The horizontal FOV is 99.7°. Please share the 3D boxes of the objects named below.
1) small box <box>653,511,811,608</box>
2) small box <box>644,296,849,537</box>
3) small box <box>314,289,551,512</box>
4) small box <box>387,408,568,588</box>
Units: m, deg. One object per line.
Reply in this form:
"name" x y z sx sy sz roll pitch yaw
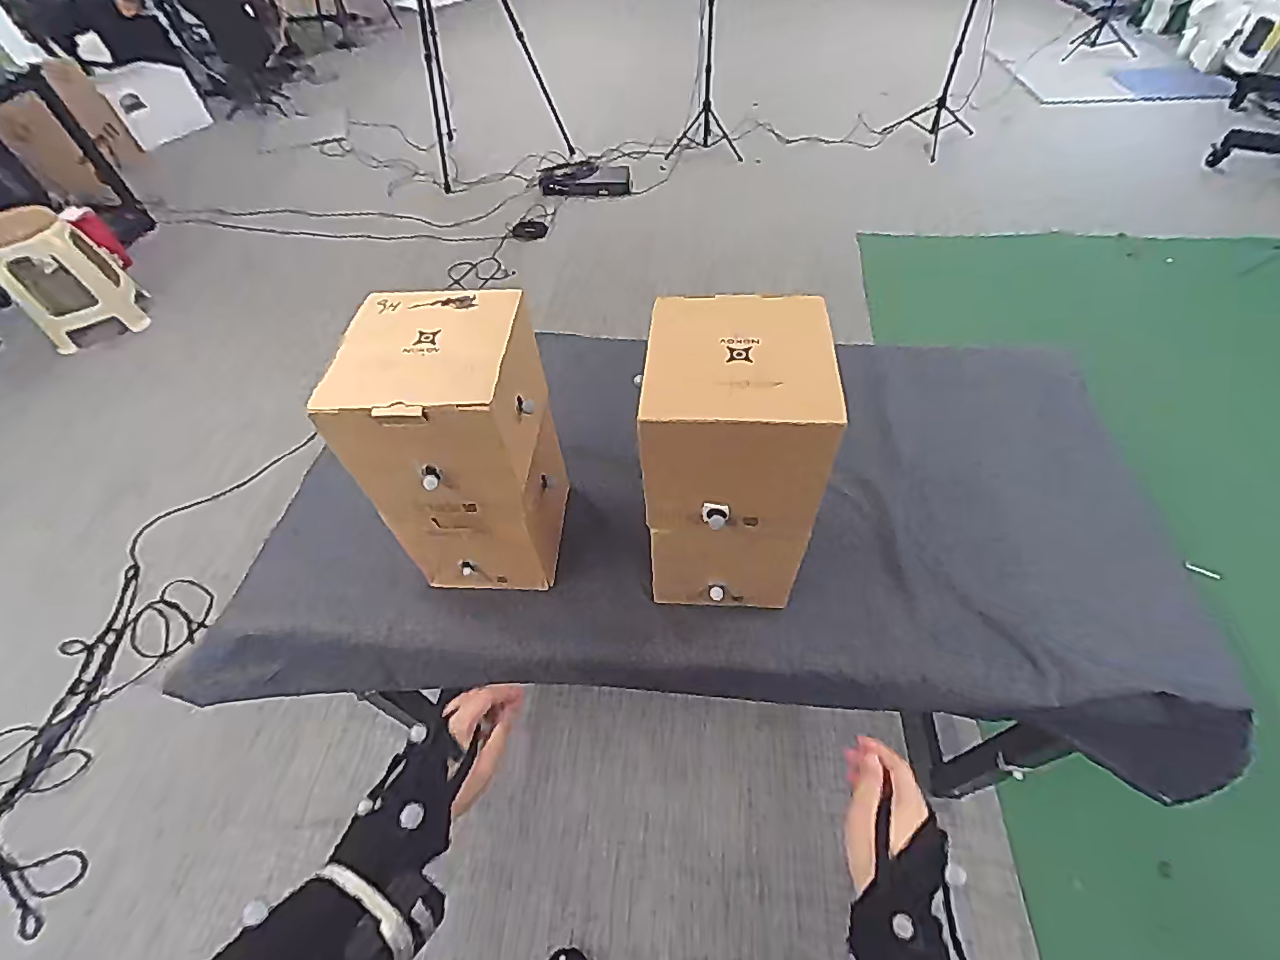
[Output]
"small box" 0.104 0.038 0.670 0.168 0.176 0.179 1 51 5
"small box" 0.096 -0.063 0.543 0.168 0.176 0.179 1 52 7
"small box" -0.196 -0.078 0.575 0.168 0.176 0.179 -1 52 3
"small box" -0.193 0.022 0.705 0.168 0.176 0.179 0 52 3
